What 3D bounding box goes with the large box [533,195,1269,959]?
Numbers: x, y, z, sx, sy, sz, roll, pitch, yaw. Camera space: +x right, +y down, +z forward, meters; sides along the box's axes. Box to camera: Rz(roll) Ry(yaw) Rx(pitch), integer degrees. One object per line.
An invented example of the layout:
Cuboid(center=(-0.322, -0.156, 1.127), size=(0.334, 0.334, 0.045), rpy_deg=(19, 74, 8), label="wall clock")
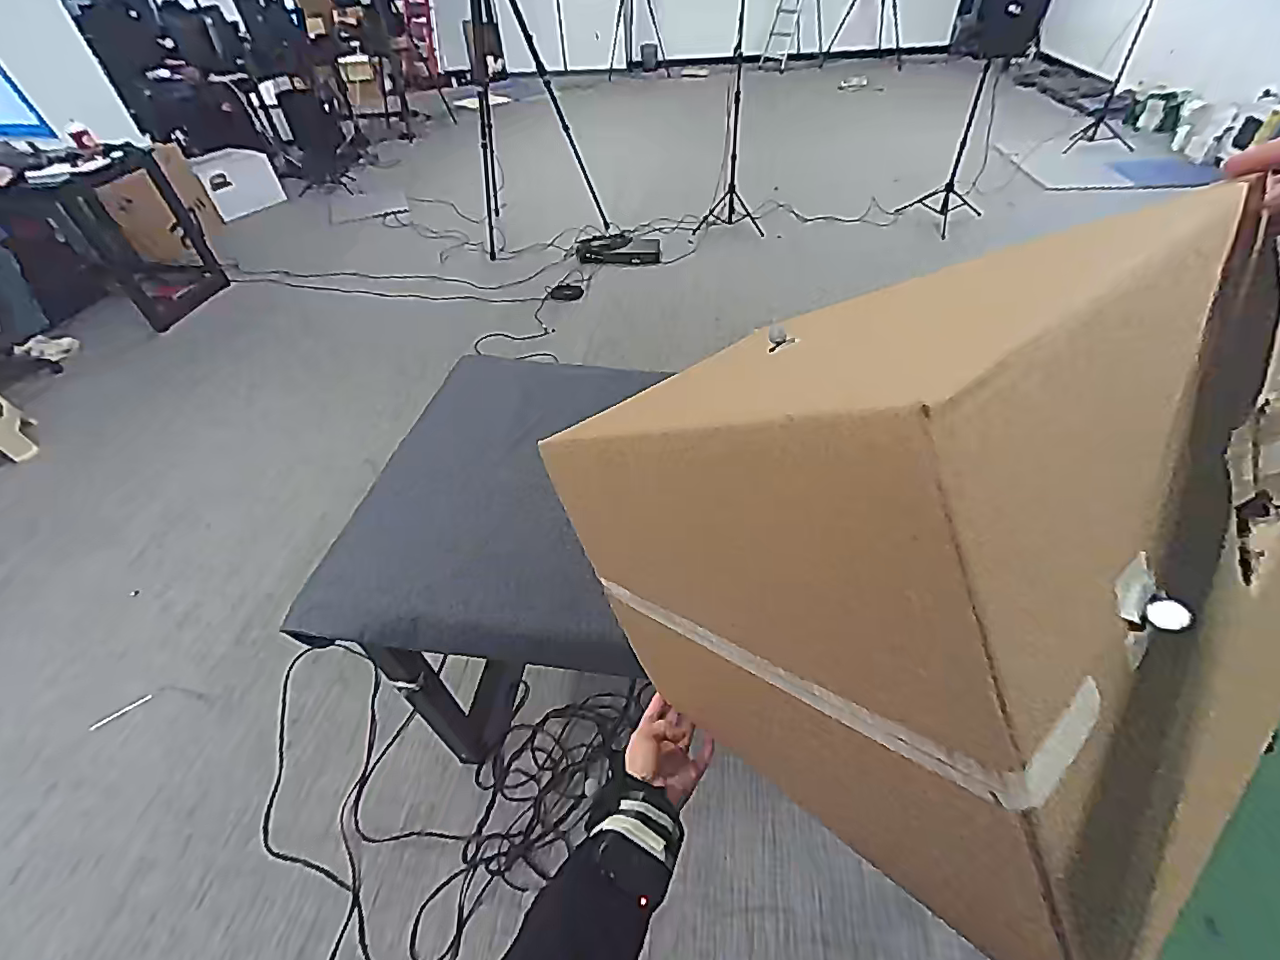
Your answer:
Cuboid(center=(0.168, 0.037, 0.442), size=(0.320, 0.320, 0.408), rpy_deg=(-31, 17, -25), label="large box")
